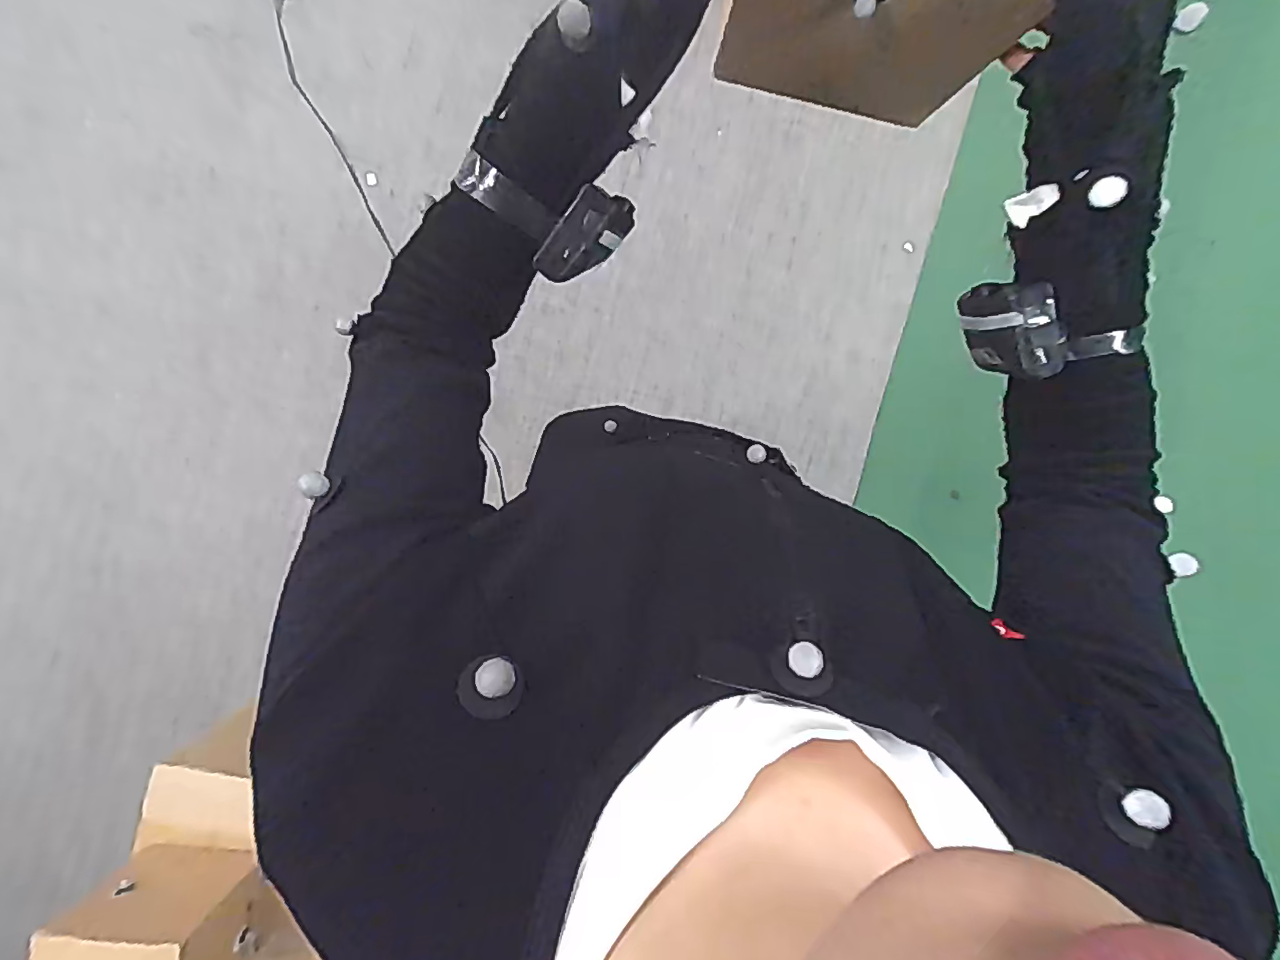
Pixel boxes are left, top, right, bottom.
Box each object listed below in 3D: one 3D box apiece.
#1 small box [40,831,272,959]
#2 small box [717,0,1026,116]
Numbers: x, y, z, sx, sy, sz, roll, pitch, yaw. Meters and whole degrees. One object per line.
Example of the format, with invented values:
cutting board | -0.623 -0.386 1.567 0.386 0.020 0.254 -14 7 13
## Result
small box | -0.655 0.617 0.744 0.179 0.176 0.168 6 90 -3
small box | 0.158 -0.371 0.345 0.179 0.176 0.168 11 99 -4
